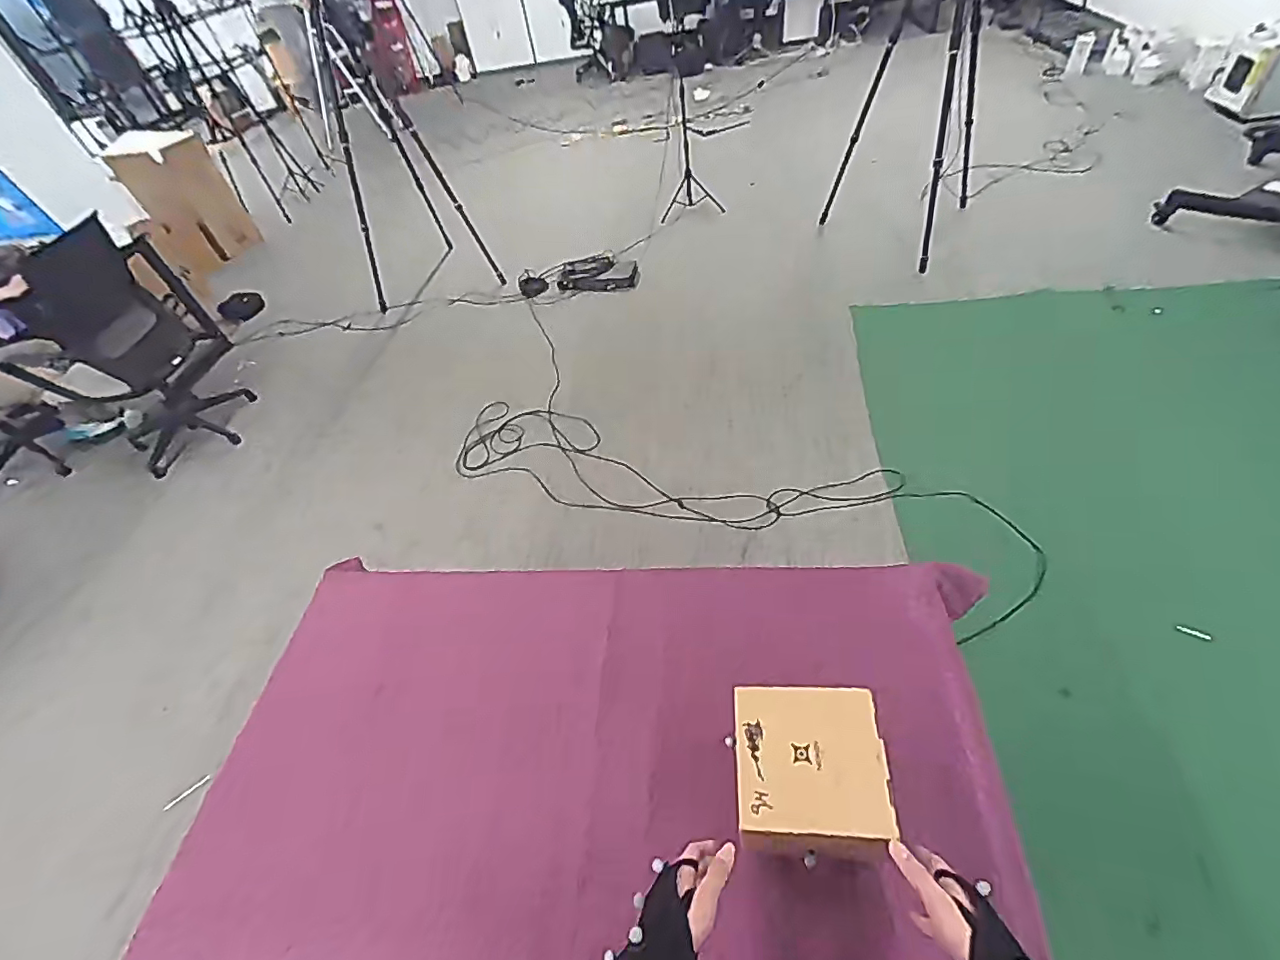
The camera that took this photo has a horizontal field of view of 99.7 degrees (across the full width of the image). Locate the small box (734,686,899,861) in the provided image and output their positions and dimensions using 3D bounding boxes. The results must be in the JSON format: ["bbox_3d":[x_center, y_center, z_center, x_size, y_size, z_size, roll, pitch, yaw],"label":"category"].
[{"bbox_3d":[0.214,0.386,0.710,0.179,0.176,0.168,-1,48,9],"label":"small box"}]
